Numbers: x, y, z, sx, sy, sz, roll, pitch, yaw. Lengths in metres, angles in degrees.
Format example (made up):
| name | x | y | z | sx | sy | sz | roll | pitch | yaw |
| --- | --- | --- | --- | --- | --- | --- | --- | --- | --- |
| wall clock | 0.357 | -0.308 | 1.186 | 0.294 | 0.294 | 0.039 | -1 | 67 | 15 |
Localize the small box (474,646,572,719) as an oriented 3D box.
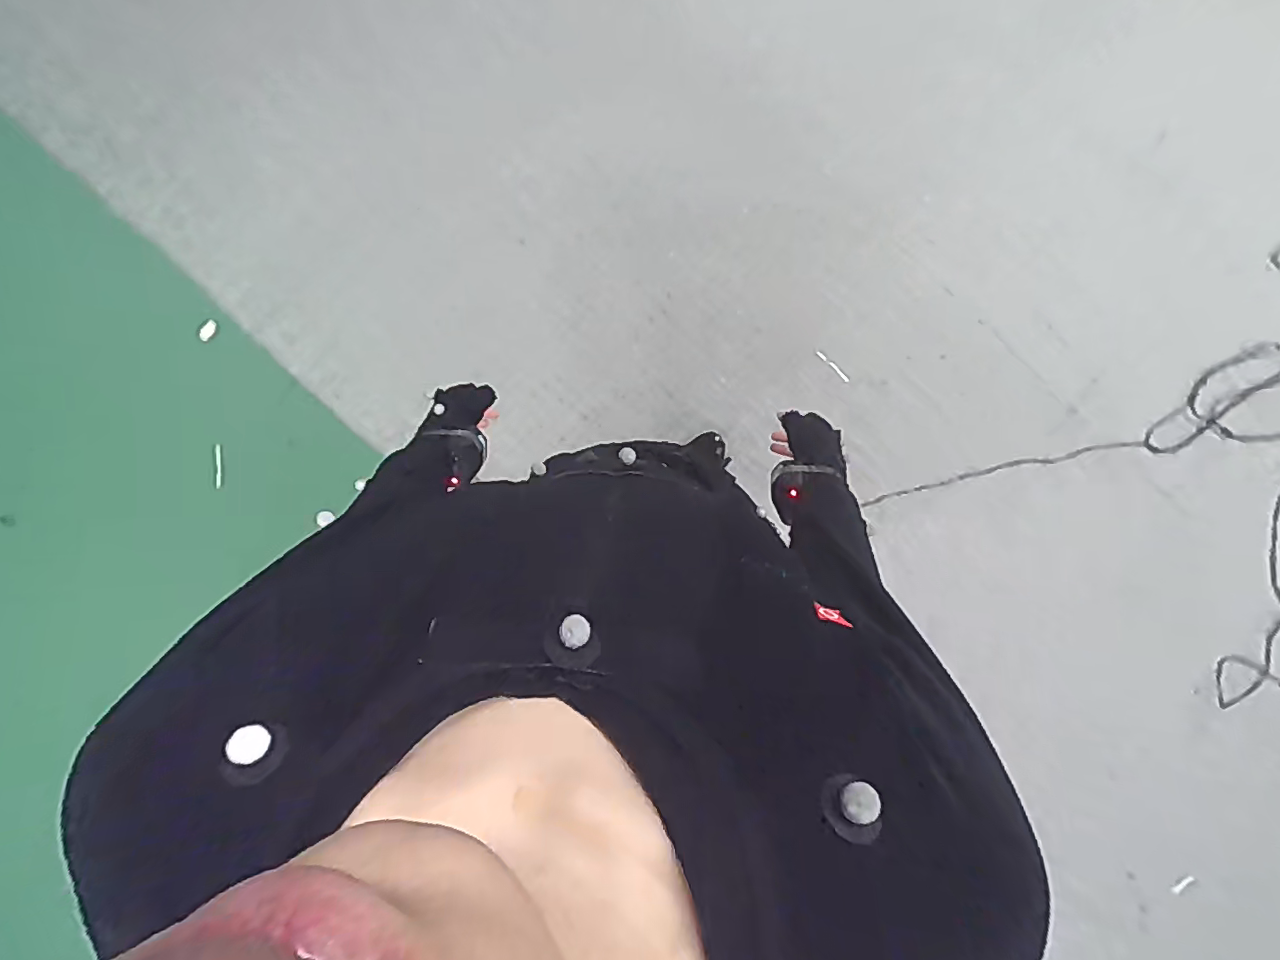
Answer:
| name | x | y | z | sx | sy | sz | roll | pitch | yaw |
| --- | --- | --- | --- | --- | --- | --- | --- | --- | --- |
| small box | -0.297 | 0.576 | 1.425 | 0.168 | 0.176 | 0.179 | 43 | 95 | -3 |
